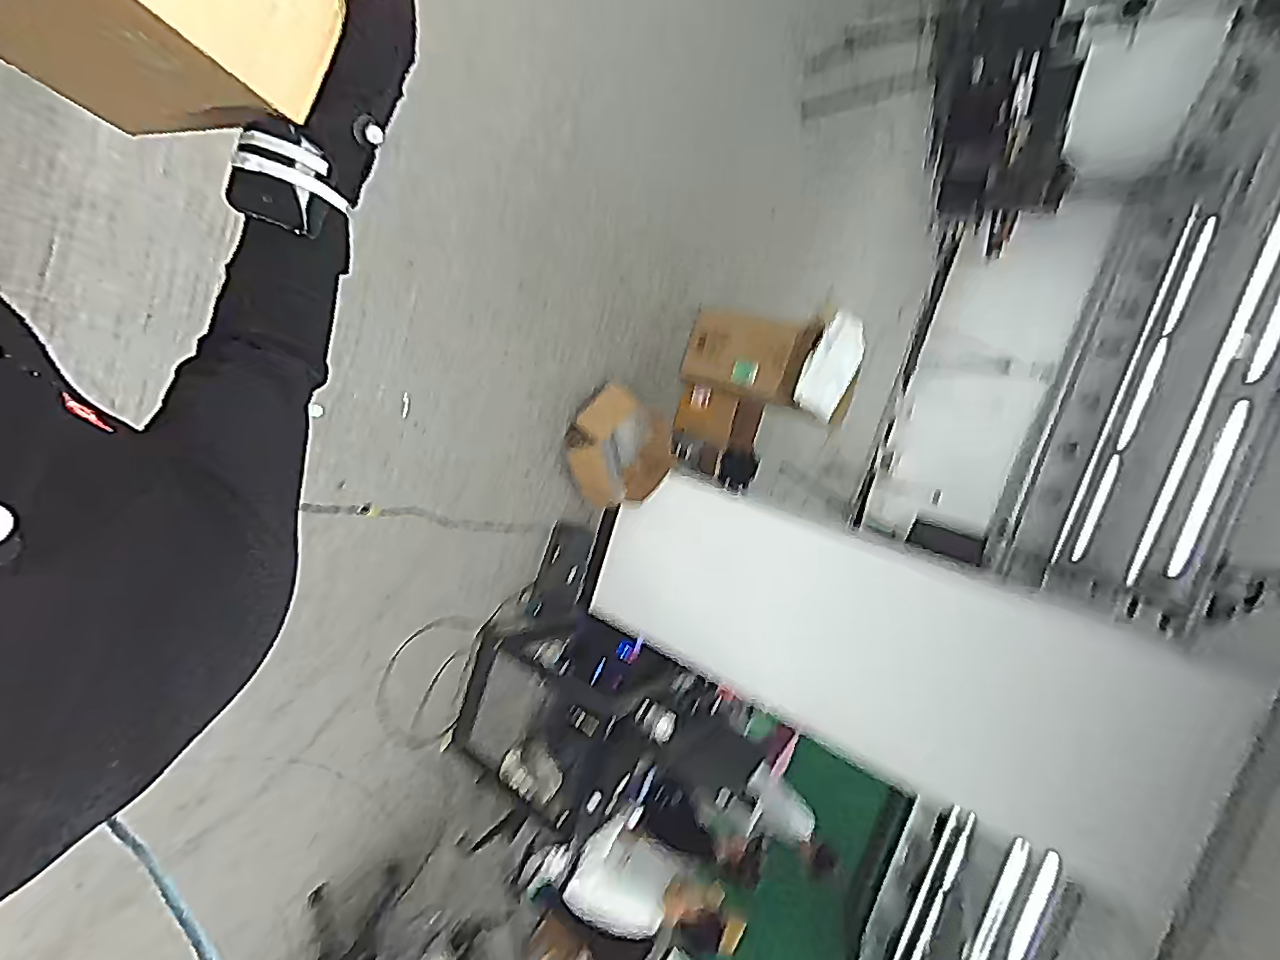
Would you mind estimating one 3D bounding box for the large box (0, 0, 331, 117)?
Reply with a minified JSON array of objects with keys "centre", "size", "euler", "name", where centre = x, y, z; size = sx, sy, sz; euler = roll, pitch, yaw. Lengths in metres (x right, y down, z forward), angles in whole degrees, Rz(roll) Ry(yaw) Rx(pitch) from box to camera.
[{"centre":[-0.417,-0.486,0.290],"size":[0.408,0.320,0.320],"euler":[21,88,-62],"name":"large box"}]
